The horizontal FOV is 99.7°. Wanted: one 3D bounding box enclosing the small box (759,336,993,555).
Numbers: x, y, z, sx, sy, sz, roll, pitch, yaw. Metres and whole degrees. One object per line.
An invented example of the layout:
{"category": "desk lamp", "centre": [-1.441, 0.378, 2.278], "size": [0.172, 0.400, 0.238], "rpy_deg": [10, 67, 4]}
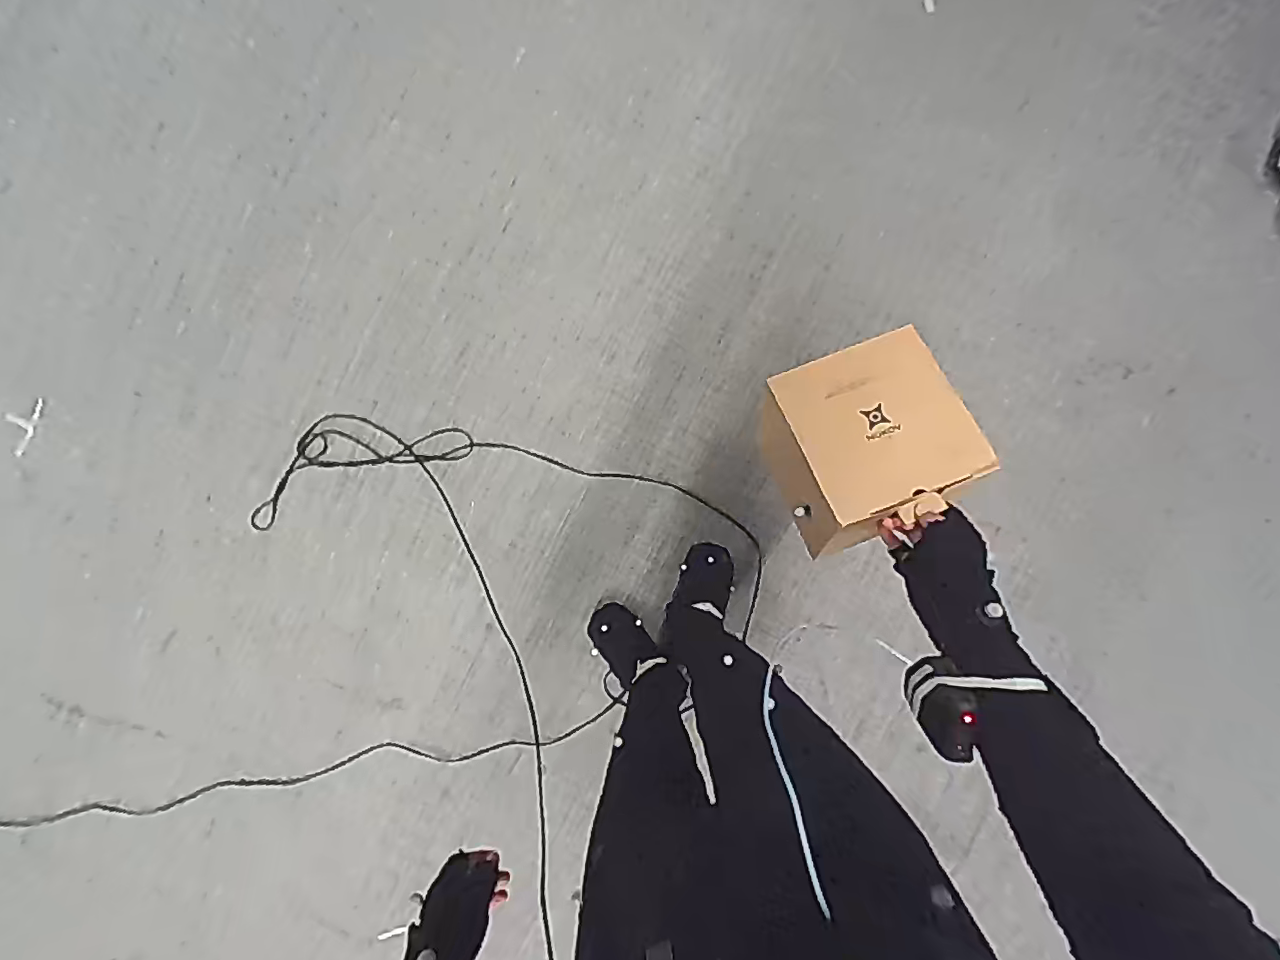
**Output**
{"category": "small box", "centre": [0.247, -0.024, 0.618], "size": [0.168, 0.176, 0.179], "rpy_deg": [-21, 69, 1]}
